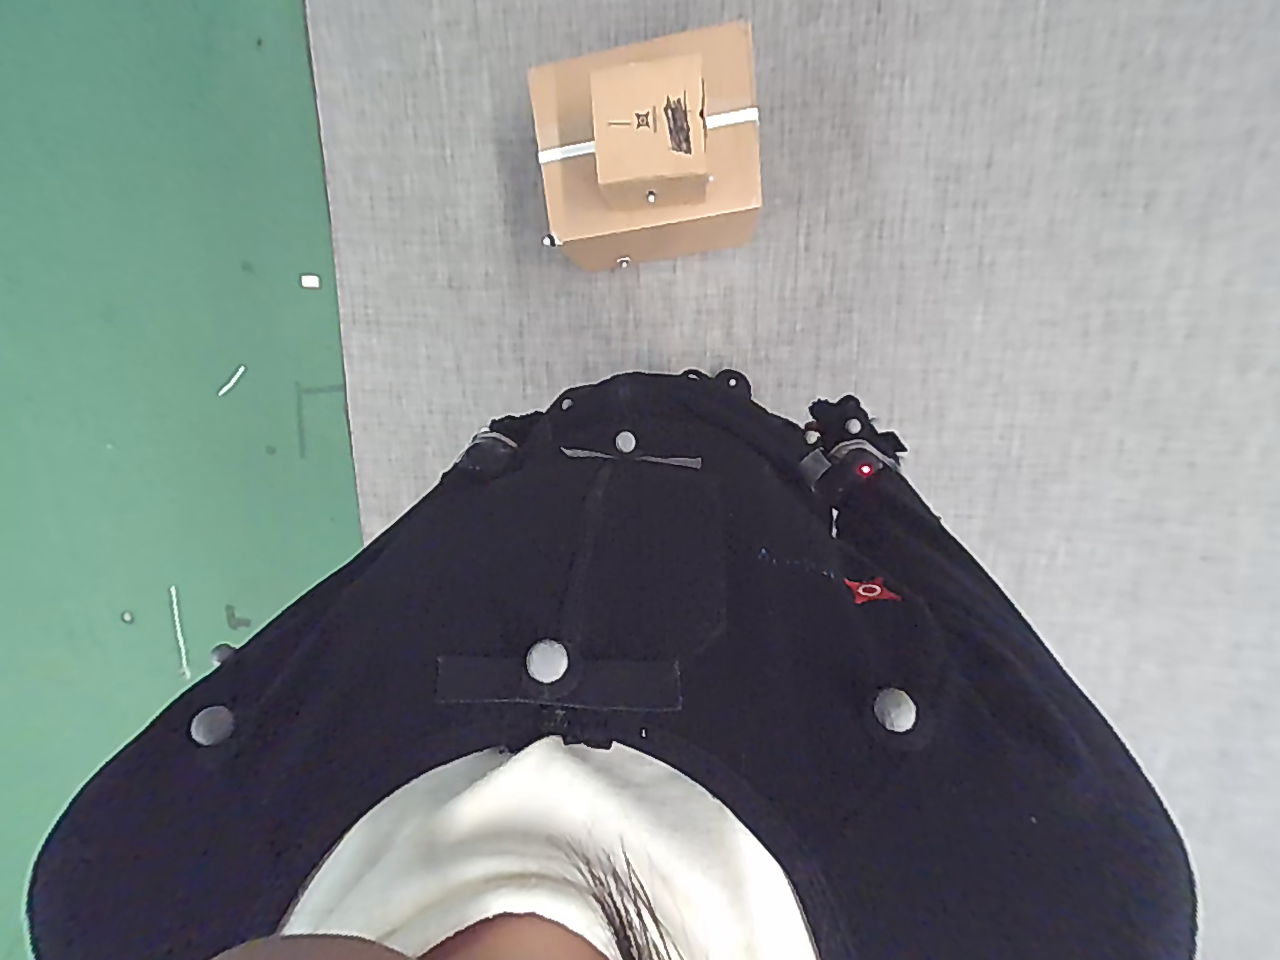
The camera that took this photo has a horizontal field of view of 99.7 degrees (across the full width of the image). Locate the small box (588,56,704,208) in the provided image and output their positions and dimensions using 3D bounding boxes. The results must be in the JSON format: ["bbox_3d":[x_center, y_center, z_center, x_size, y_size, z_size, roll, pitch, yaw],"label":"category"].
[{"bbox_3d":[0.018,-0.580,0.923,0.179,0.176,0.168,-2,102,8],"label":"small box"}]
